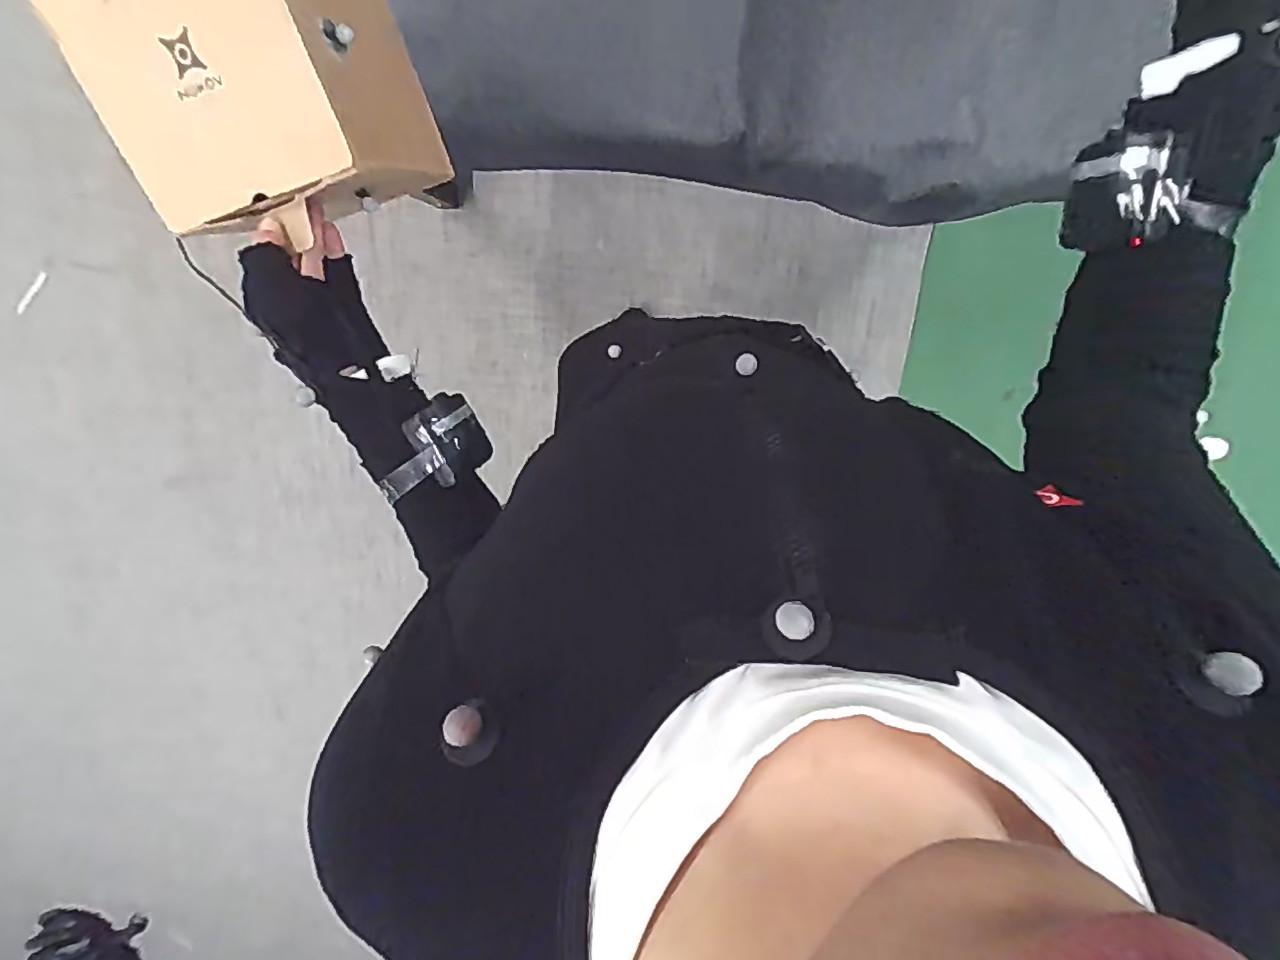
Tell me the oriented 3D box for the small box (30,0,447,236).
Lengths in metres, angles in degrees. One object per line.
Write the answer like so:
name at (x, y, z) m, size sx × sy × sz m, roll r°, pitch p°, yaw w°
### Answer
small box at (-0.280, -0.307, 0.415) m, size 0.168 × 0.176 × 0.179 m, roll -12°, pitch 115°, yaw 12°
